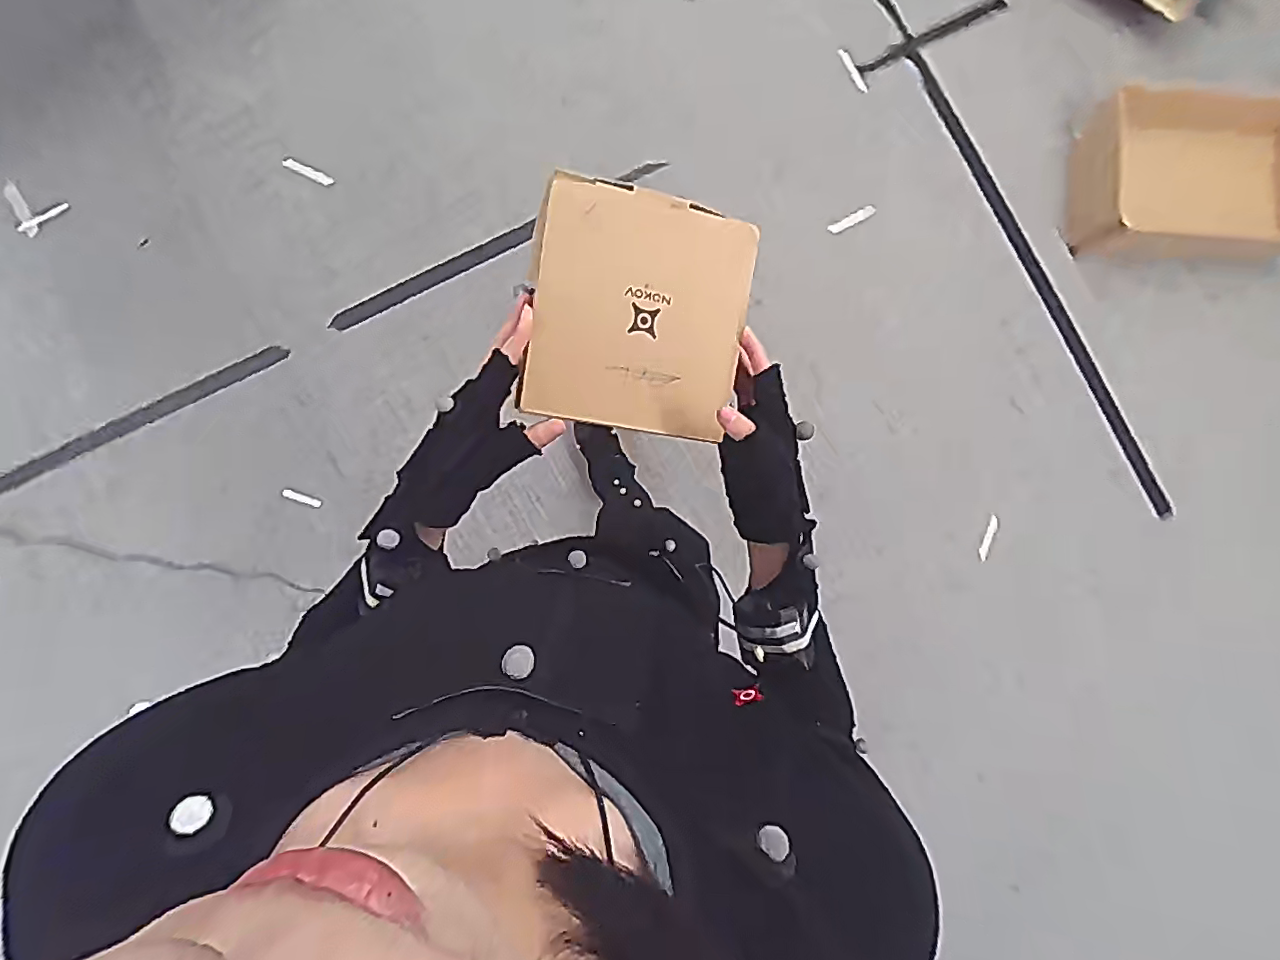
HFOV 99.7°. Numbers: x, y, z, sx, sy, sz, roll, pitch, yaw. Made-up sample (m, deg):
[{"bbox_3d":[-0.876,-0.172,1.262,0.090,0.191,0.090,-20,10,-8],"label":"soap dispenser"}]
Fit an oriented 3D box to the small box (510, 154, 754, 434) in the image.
[{"bbox_3d":[-0.022,-0.142,0.480,0.168,0.176,0.179,7,96,-16],"label":"small box"}]
